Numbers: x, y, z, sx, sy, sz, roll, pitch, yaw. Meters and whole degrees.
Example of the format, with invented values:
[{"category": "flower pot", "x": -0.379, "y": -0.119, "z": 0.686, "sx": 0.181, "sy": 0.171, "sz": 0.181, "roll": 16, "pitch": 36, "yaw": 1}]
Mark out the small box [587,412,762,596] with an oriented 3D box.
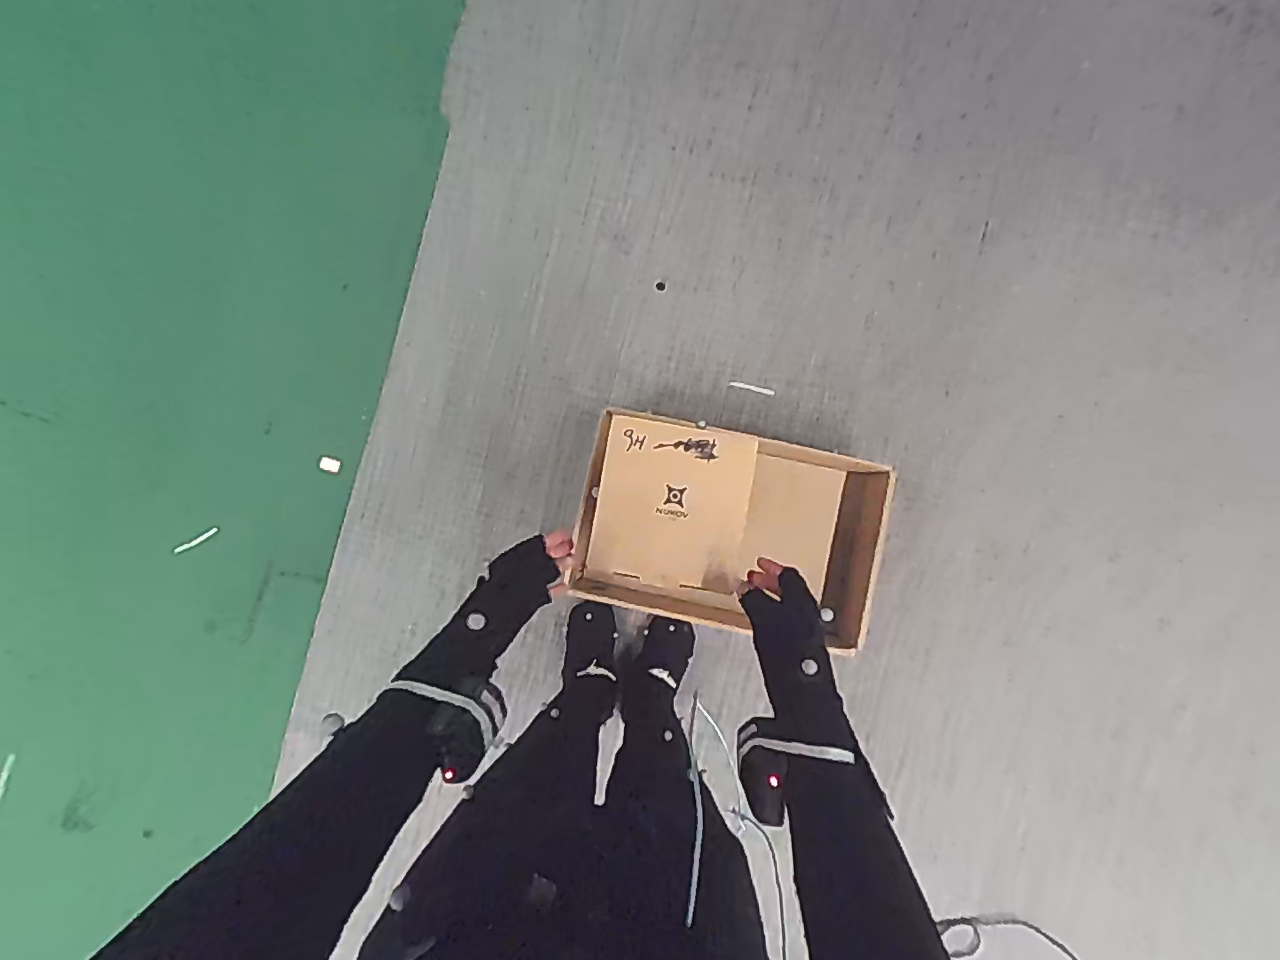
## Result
[{"category": "small box", "x": 0.038, "y": 0.028, "z": 0.663, "sx": 0.168, "sy": 0.176, "sz": 0.179, "roll": 10, "pitch": 88, "yaw": 0}]
